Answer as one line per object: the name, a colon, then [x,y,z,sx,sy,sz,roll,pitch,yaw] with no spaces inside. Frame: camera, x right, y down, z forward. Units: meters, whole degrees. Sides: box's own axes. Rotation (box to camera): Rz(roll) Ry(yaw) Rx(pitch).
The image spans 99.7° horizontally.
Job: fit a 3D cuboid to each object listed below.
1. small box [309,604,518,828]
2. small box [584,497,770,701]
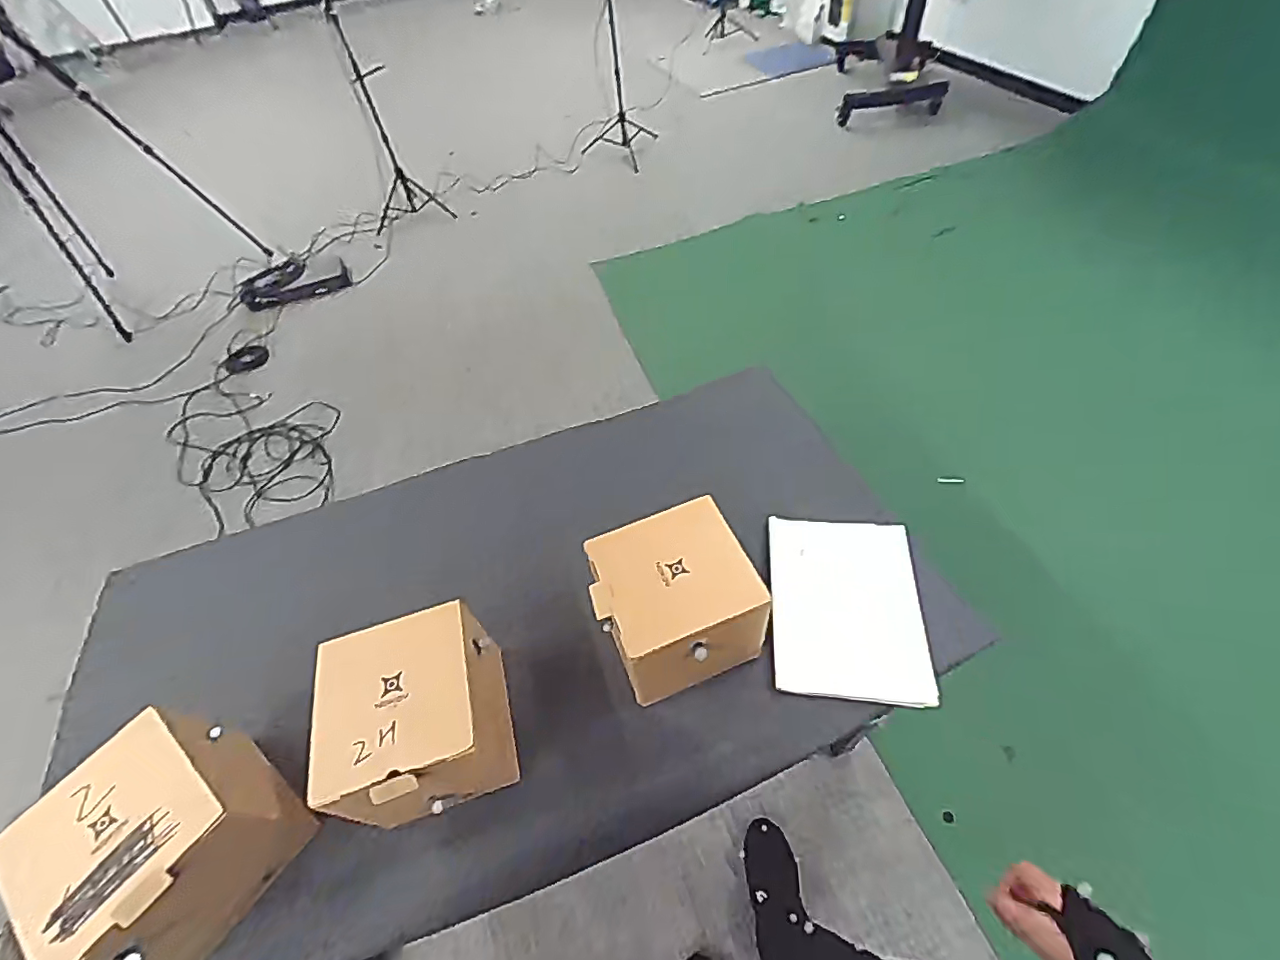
small box: [-0.256,0.281,0.641,0.168,0.176,0.179,-18,52,-6]
small box: [0.046,0.157,0.699,0.179,0.176,0.168,-21,52,-8]
